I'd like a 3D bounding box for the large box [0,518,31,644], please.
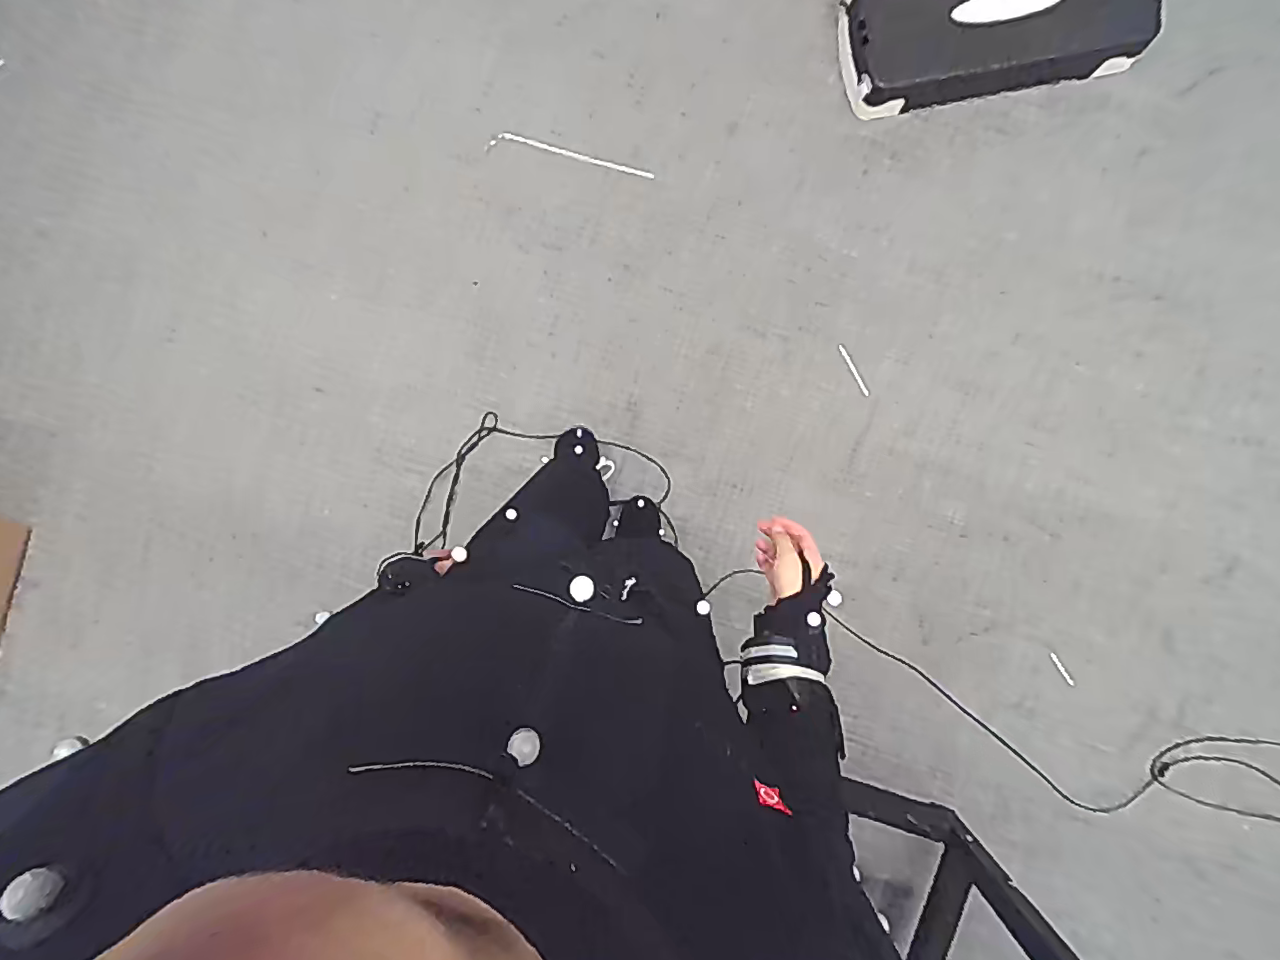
[{"bbox_3d":[-1.831,0.276,1.310,0.320,0.320,0.408,17,90,2],"label":"large box"}]
